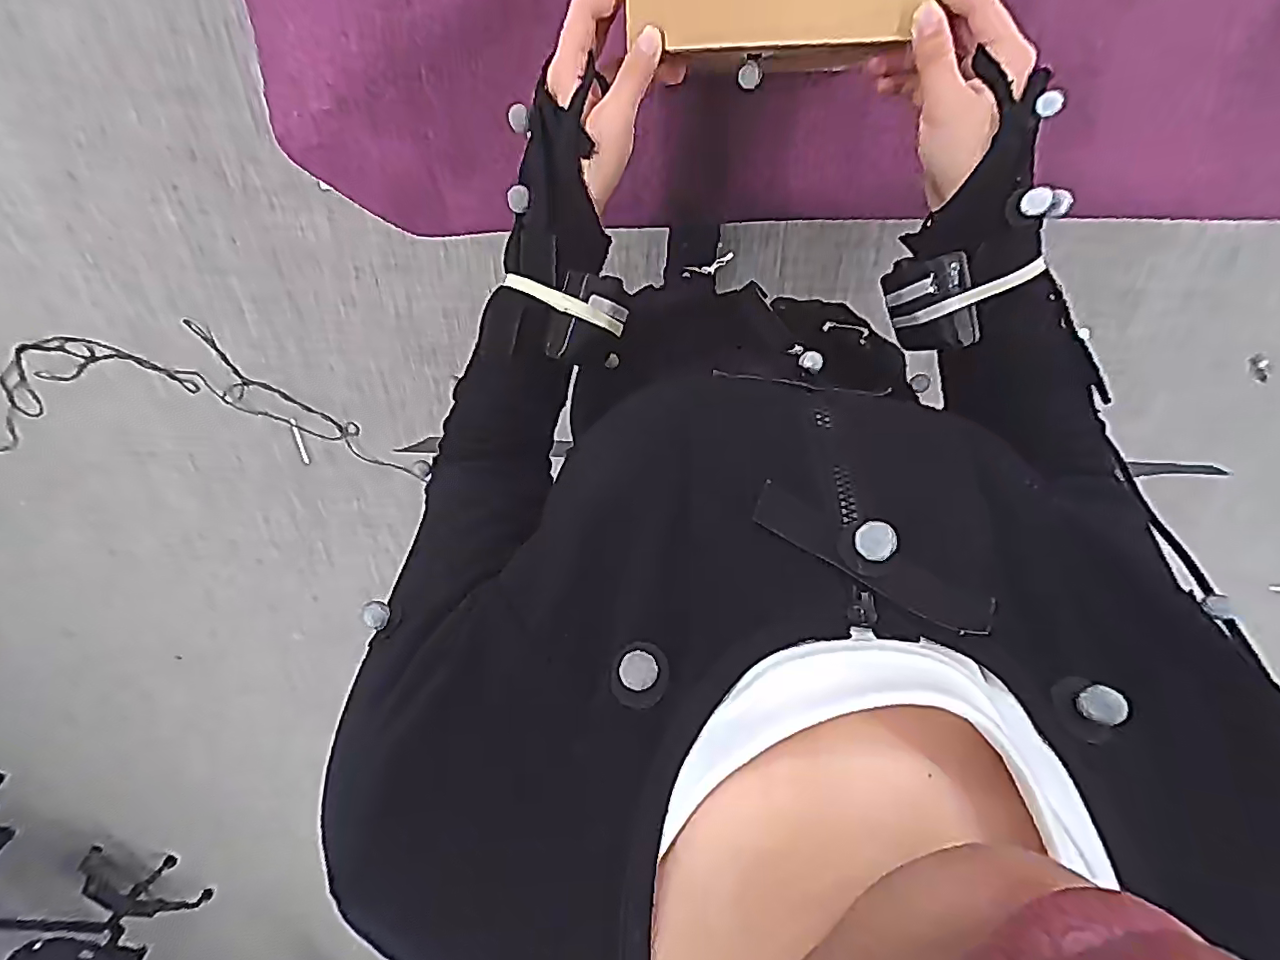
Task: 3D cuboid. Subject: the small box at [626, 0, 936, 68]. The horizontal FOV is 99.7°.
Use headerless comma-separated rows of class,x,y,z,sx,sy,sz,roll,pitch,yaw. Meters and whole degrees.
small box,0.080,-0.367,0.335,0.179,0.176,0.168,0,123,3
